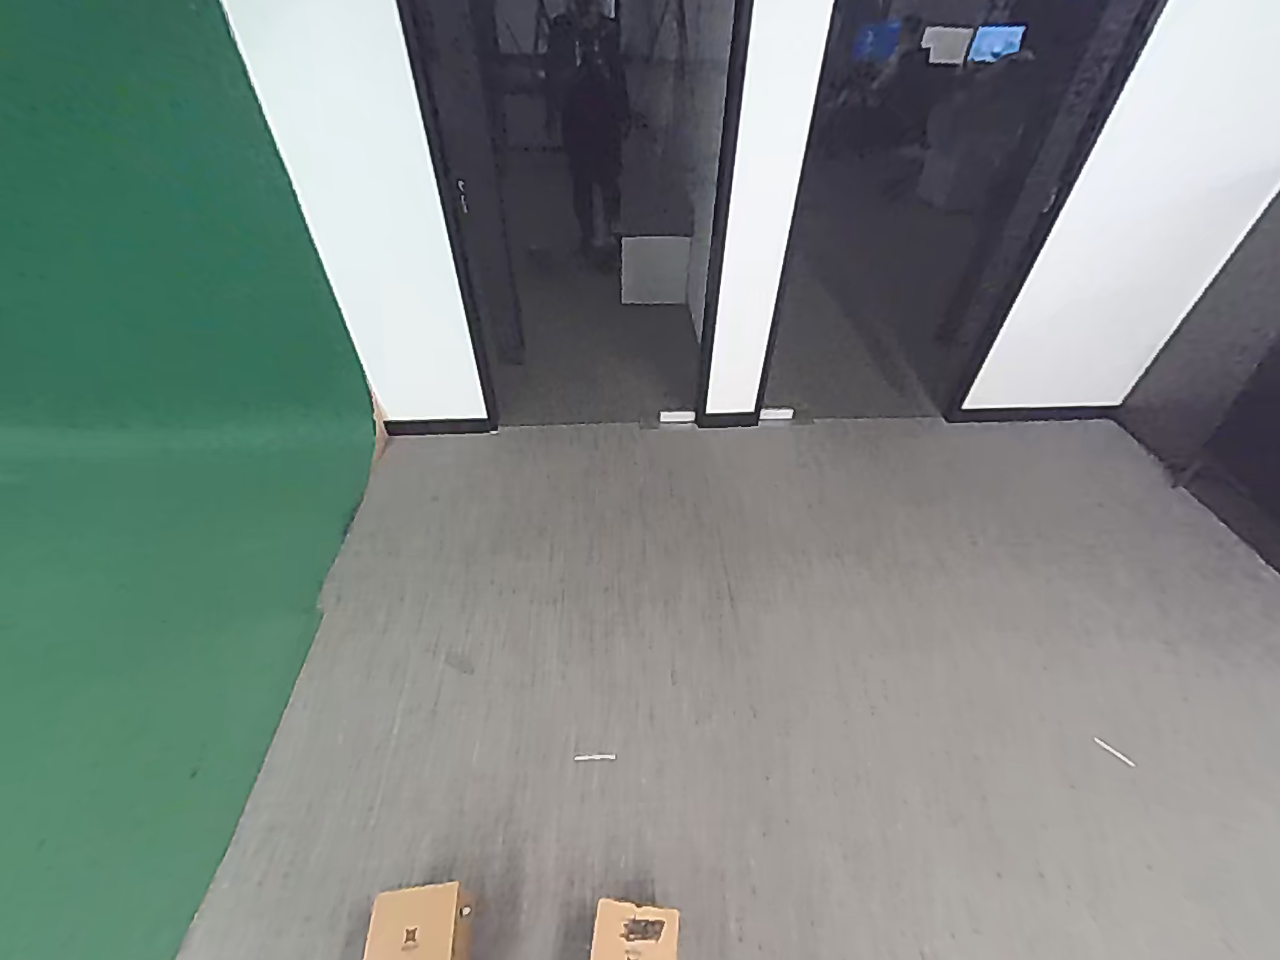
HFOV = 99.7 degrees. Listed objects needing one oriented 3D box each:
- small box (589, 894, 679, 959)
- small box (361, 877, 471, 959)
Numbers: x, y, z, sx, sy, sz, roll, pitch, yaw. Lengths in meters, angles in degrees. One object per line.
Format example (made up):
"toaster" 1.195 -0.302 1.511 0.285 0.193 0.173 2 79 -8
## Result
"small box" -0.017 0.958 1.073 0.168 0.176 0.179 6 43 5
"small box" -0.444 0.933 1.088 0.168 0.176 0.179 -4 43 -5
